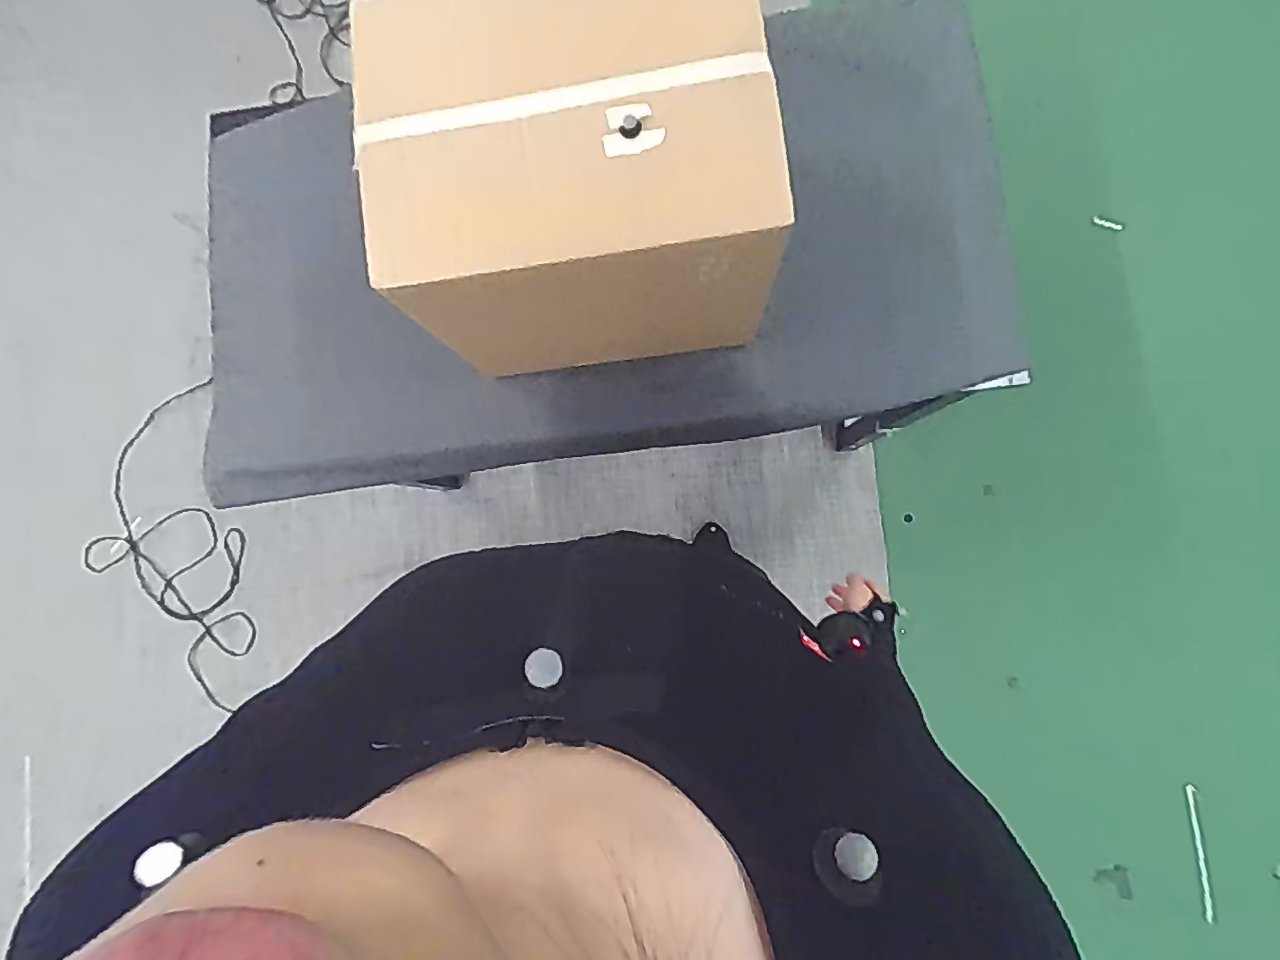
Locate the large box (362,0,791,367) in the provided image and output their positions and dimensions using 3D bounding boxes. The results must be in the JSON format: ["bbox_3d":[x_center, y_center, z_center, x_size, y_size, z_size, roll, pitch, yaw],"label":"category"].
[{"bbox_3d":[-0.063,-0.358,0.676,0.408,0.320,0.320,-7,85,4],"label":"large box"}]
